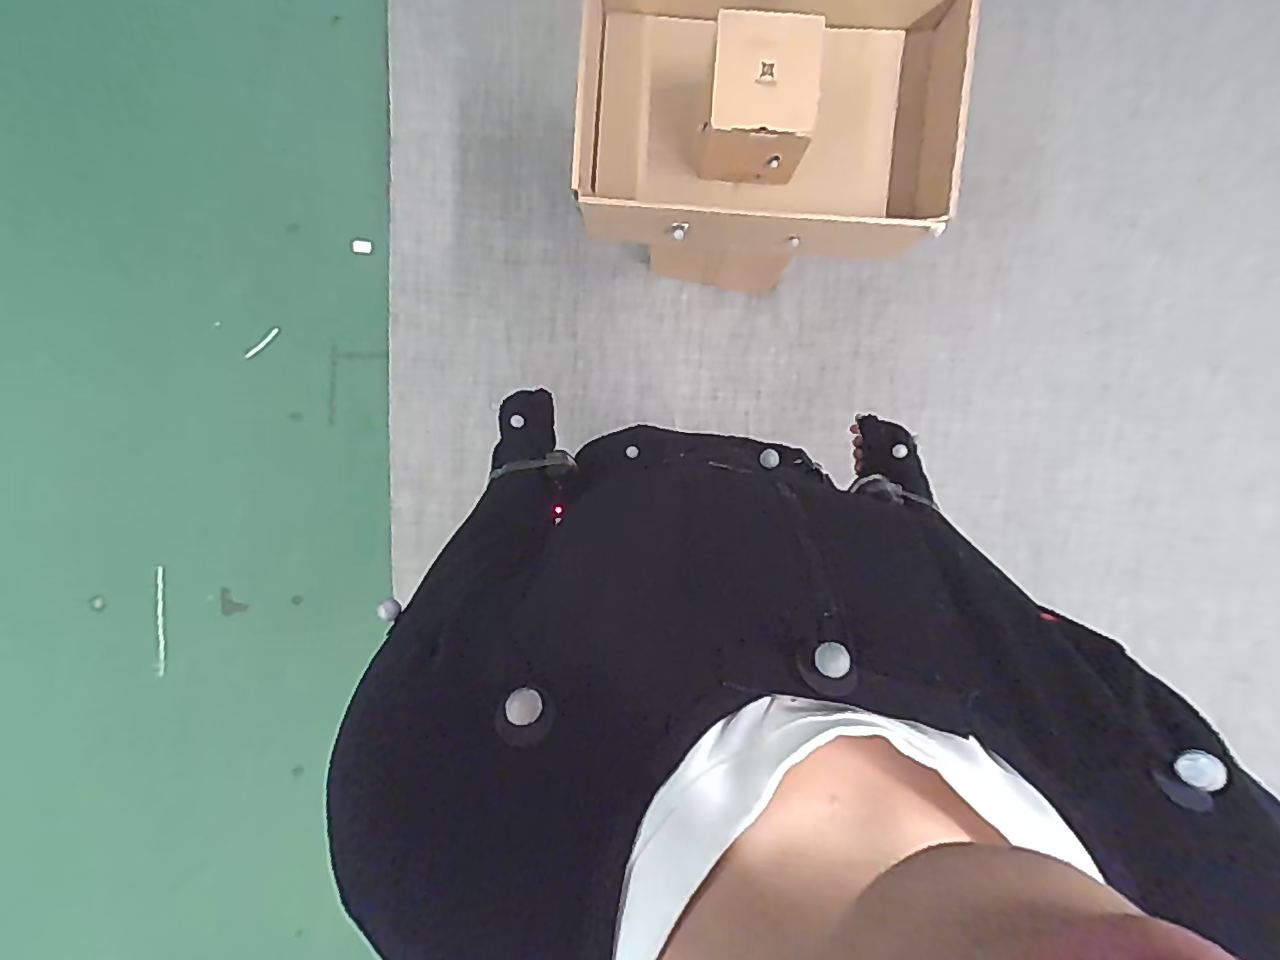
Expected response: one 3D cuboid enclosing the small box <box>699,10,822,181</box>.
[{"bbox_3d":[0.192,-0.631,0.910,0.168,0.176,0.179,3,92,-1],"label":"small box"}]
